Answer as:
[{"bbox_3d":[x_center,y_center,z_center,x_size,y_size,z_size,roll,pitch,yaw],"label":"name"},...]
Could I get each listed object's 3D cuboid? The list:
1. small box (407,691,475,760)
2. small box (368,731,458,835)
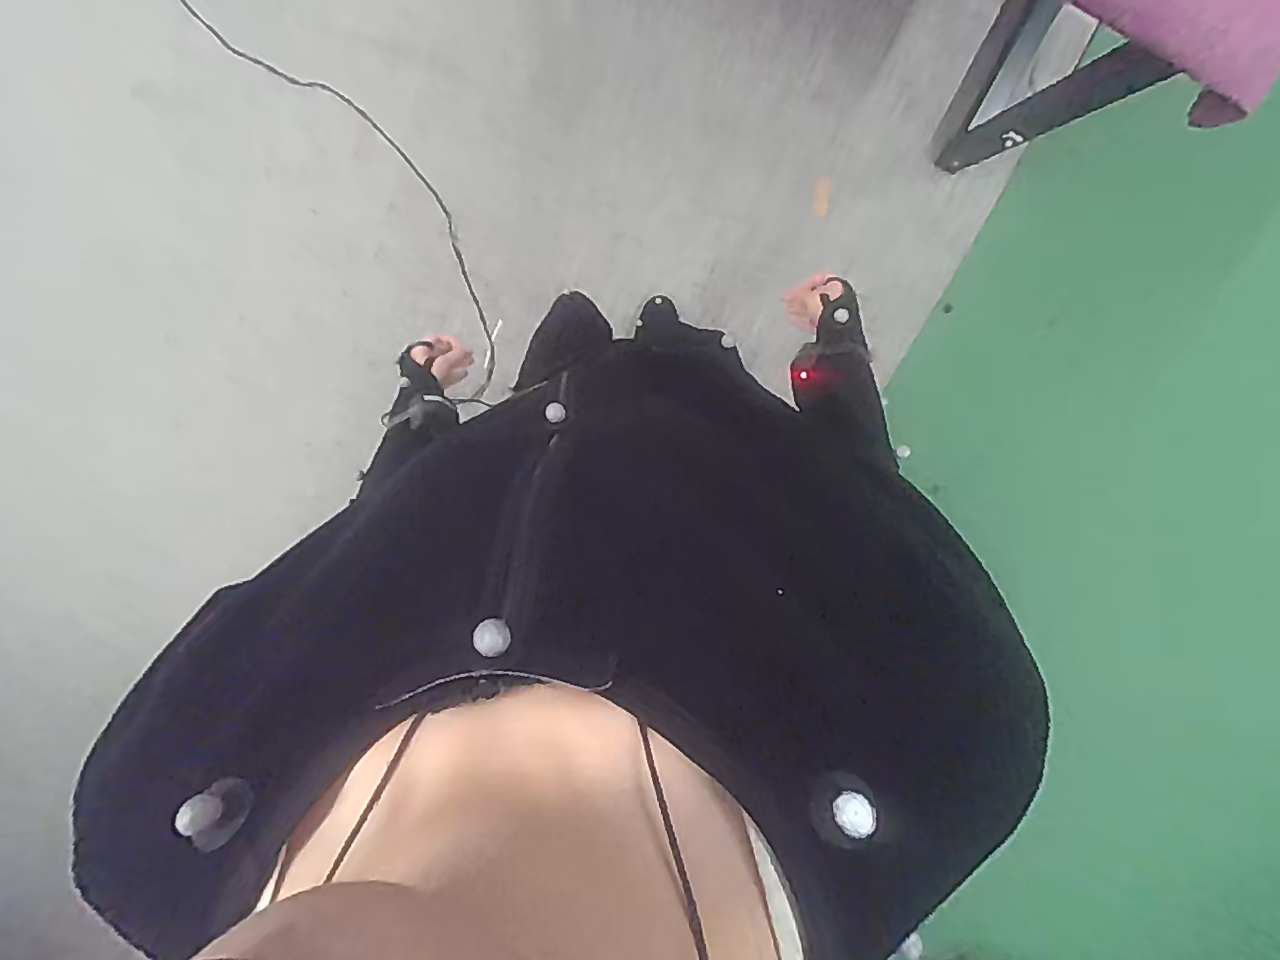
[{"bbox_3d":[-0.639,0.805,1.709,0.168,0.176,0.179,21,109,-5],"label":"small box"},{"bbox_3d":[-0.644,0.863,1.555,0.168,0.176,0.179,22,108,-5],"label":"small box"}]
